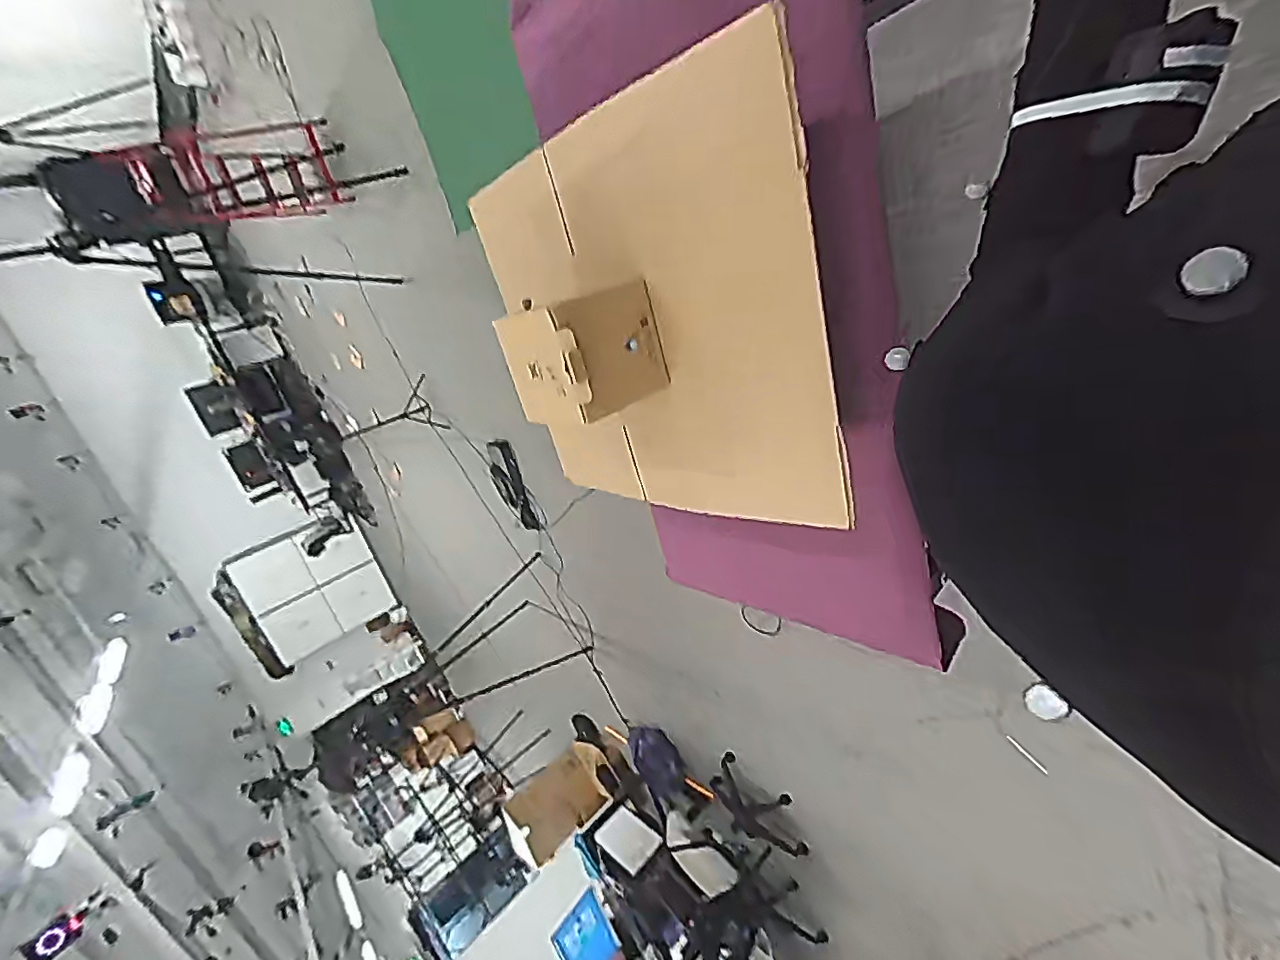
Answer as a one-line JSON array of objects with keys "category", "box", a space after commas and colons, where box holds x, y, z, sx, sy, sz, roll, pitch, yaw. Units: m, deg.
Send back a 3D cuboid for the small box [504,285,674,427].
[{"category": "small box", "box": [-0.076, -0.192, 0.837, 0.179, 0.176, 0.168, 10, 123, 49]}]
